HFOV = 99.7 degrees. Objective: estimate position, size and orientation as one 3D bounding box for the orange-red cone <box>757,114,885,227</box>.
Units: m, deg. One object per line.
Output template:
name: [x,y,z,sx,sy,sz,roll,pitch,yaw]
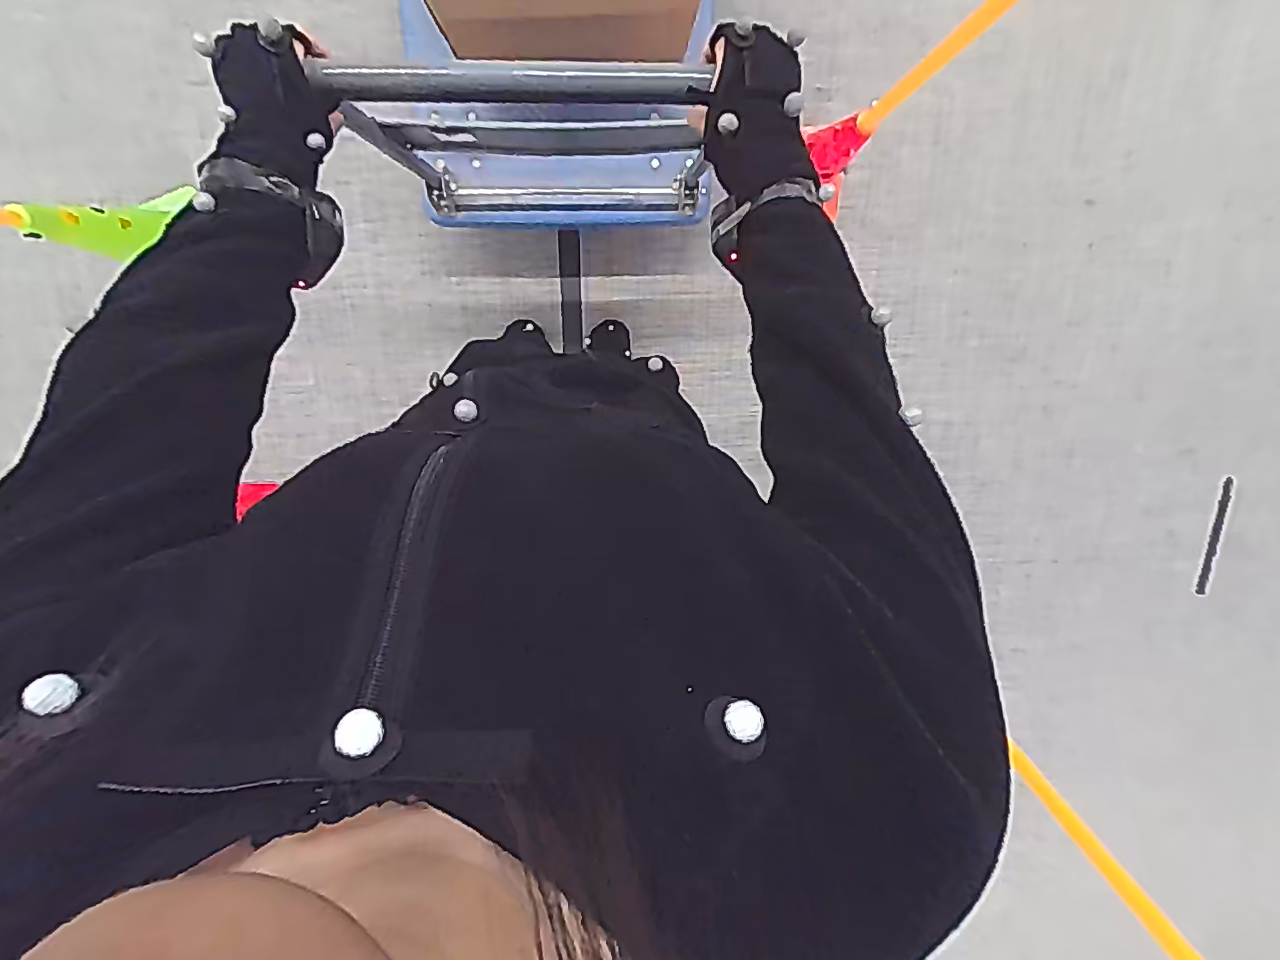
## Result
orange-red cone: [0.389,-0.651,1.081,0.199,0.360,0.198,4,106,-5]
